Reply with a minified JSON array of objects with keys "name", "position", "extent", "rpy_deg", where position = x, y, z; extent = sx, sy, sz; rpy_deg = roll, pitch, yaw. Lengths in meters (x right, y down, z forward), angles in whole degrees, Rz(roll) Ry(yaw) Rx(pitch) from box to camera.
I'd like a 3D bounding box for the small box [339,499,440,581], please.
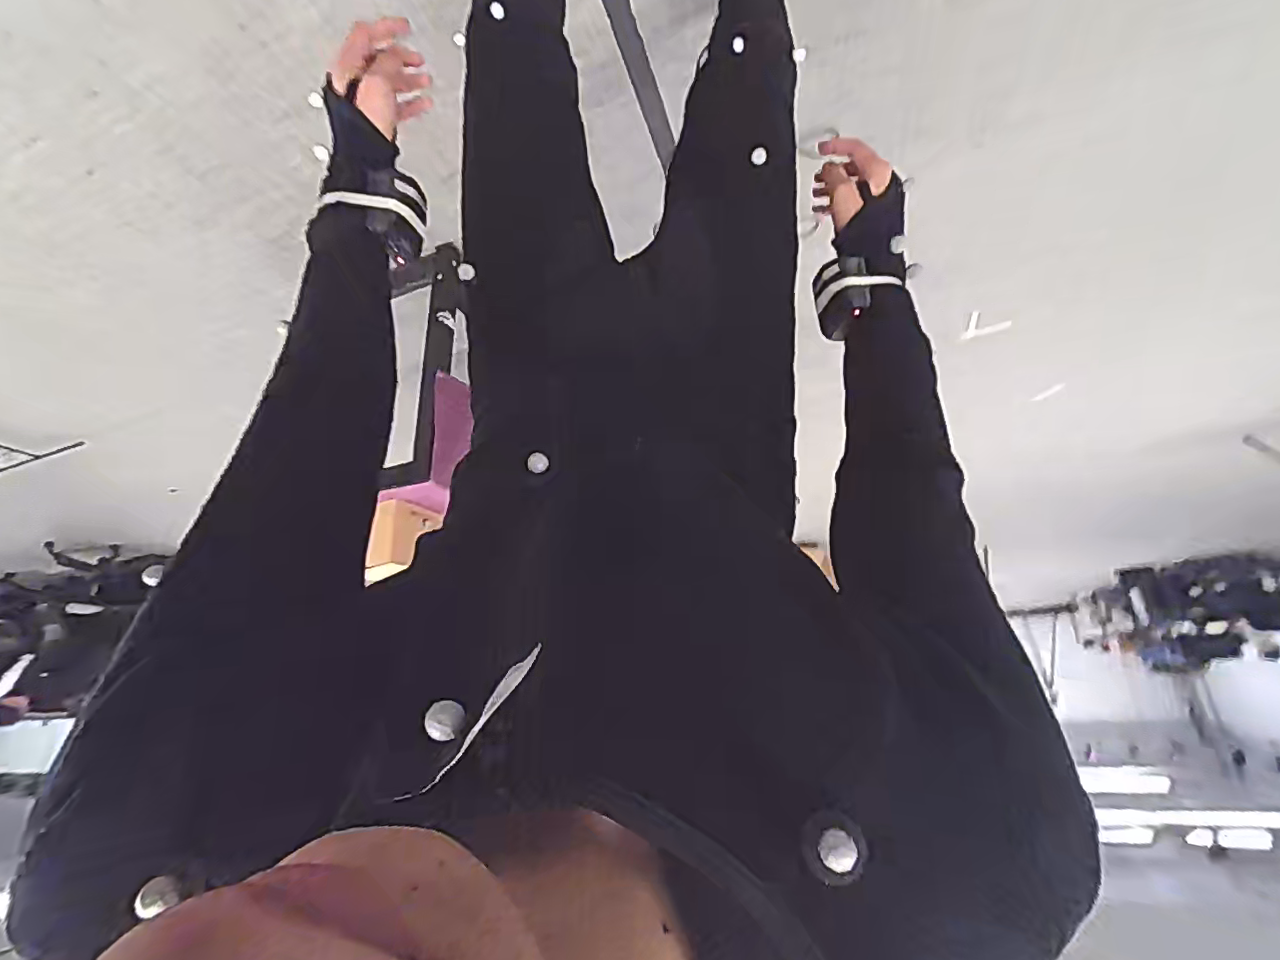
[{"name":"small box","position":[-0.642,0.159,1.407],"extent":[0.179,0.176,0.168],"rpy_deg":[-12,158,21]}]
